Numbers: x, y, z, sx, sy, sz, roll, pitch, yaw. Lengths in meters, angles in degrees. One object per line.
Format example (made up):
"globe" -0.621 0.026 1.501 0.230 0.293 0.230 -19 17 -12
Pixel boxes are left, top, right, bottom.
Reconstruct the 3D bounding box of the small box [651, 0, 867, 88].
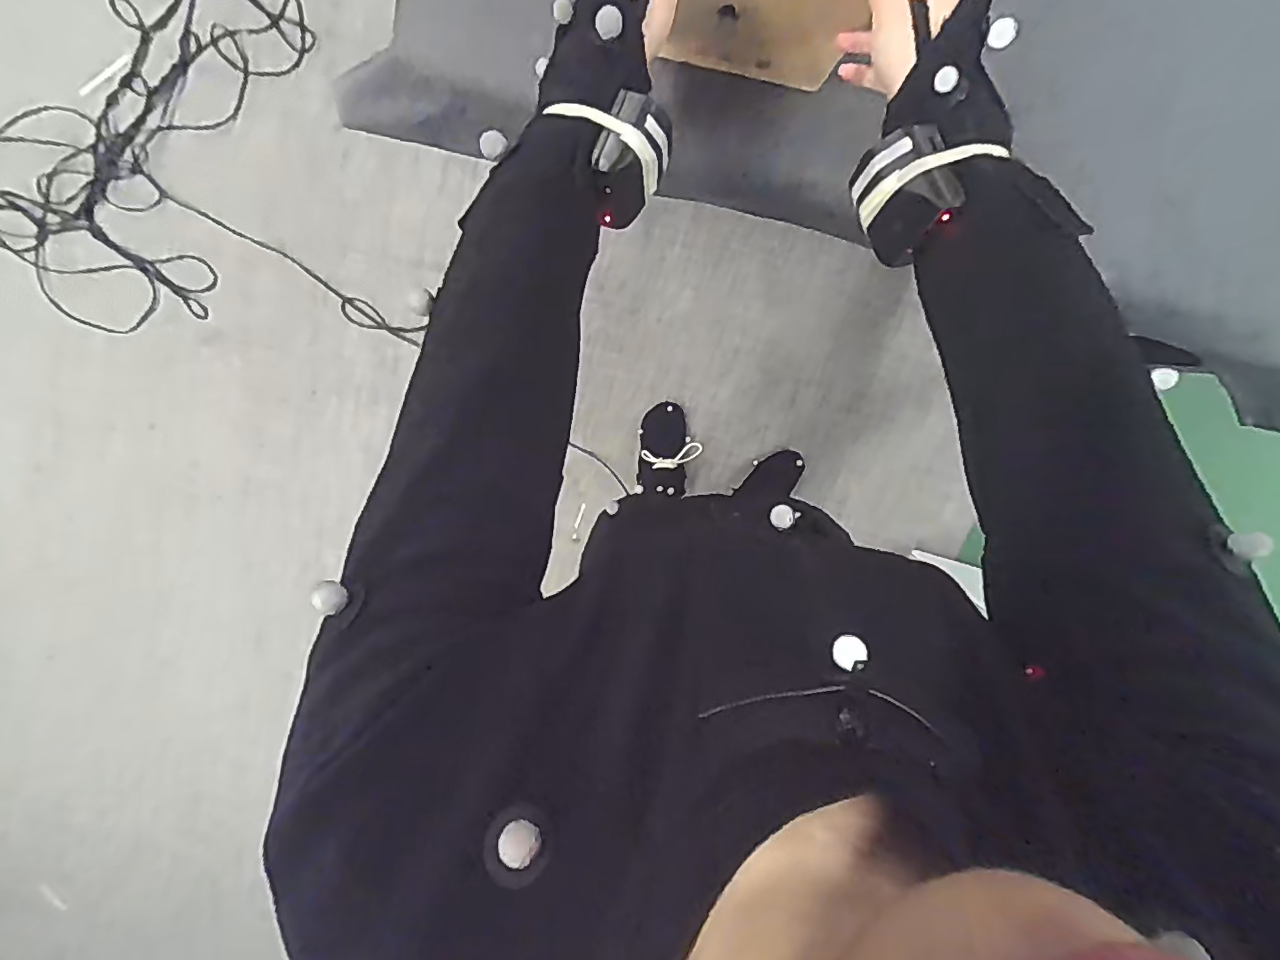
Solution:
"small box" 0.103 -0.449 0.421 0.168 0.176 0.179 10 104 -4
